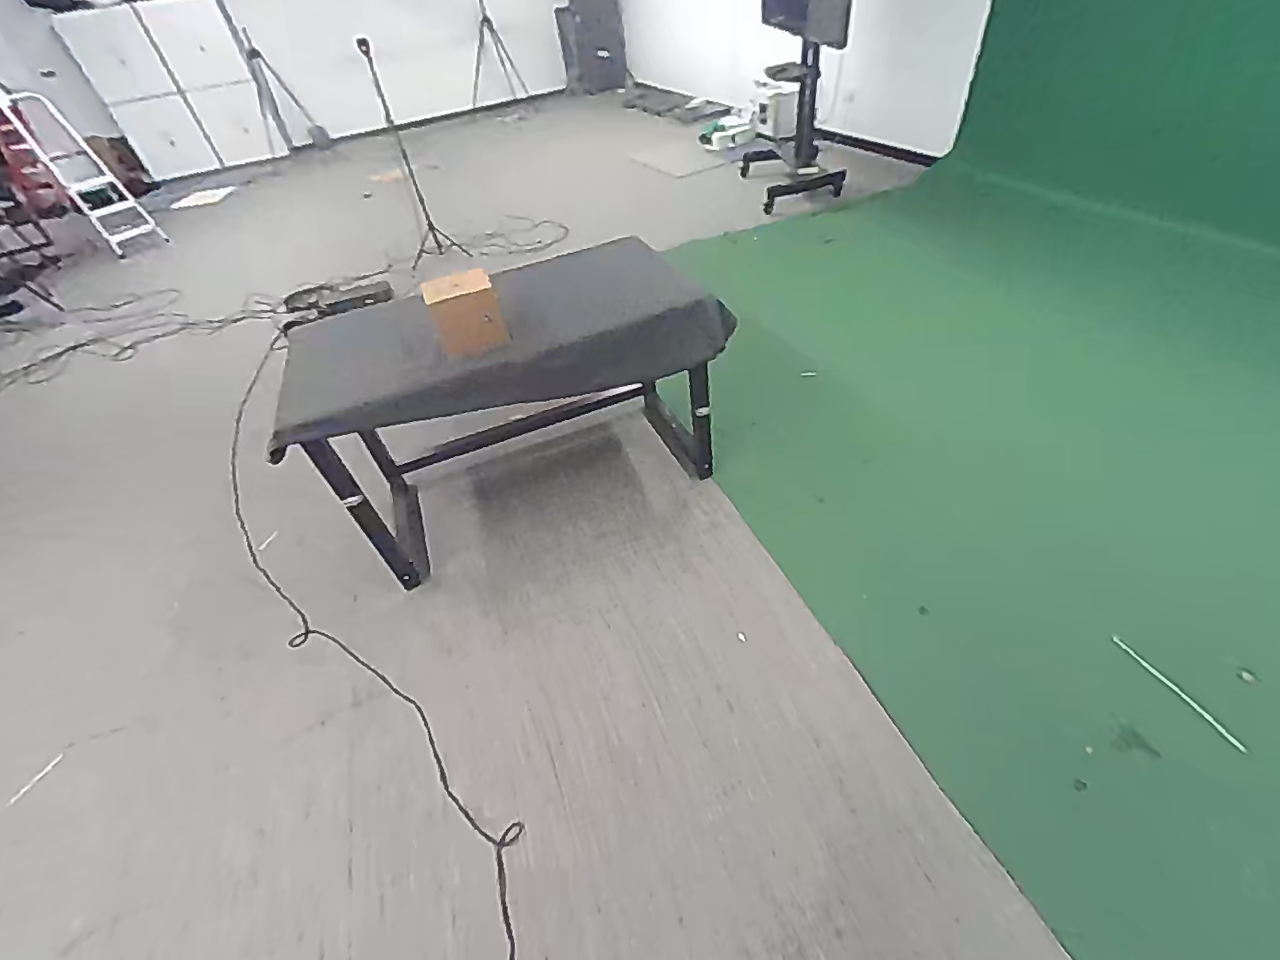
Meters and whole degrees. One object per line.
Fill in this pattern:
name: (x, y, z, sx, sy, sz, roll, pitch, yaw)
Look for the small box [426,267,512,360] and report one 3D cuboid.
small box: (-0.465, -0.460, 1.492, 0.179, 0.176, 0.168, -22, 43, -10)
